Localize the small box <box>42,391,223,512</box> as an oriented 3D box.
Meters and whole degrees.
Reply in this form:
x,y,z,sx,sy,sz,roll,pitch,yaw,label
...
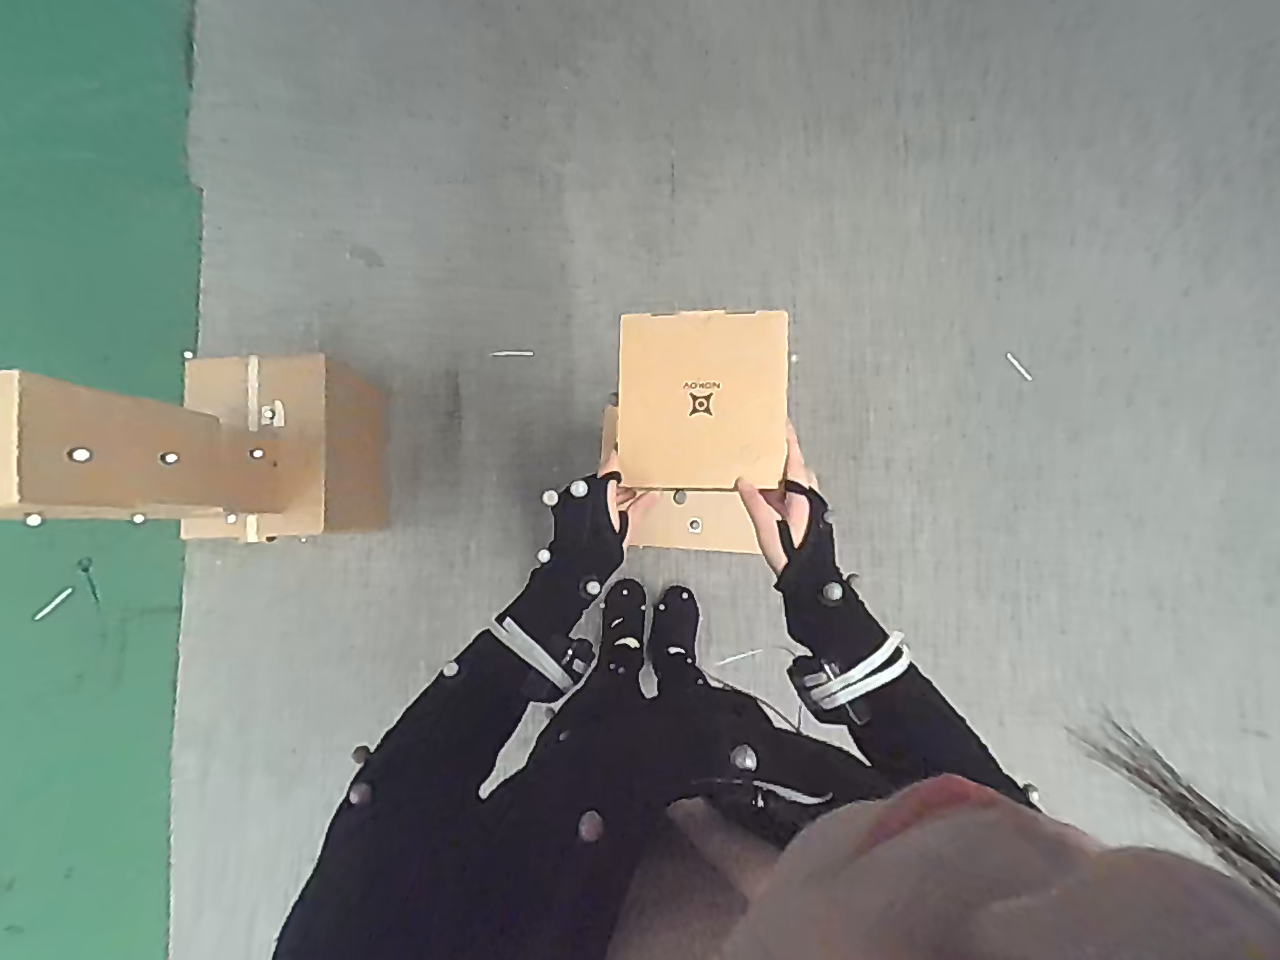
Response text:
x,y,z,sx,sy,sz,roll,pitch,yaw,label
-0.852,-0.040,0.920,0.168,0.176,0.179,-7,85,-1,small box

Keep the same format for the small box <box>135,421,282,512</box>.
x,y,z,sx,sy,sz,roll,pitch,yaw,label
-0.853,-0.022,1.082,0.179,0.176,0.168,-3,86,0,small box

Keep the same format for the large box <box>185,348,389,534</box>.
x,y,z,sx,sy,sz,roll,pitch,yaw,label
-0.839,-0.076,1.330,0.320,0.320,0.408,-2,85,-1,large box

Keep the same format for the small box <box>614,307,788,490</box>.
x,y,z,sx,sy,sz,roll,pitch,yaw,label
0.067,-0.078,0.599,0.168,0.176,0.179,1,88,7,small box

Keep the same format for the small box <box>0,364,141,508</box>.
x,y,z,sx,sy,sz,roll,pitch,yaw,label
-0.850,-0.051,0.755,0.168,0.176,0.179,-5,86,-1,small box
